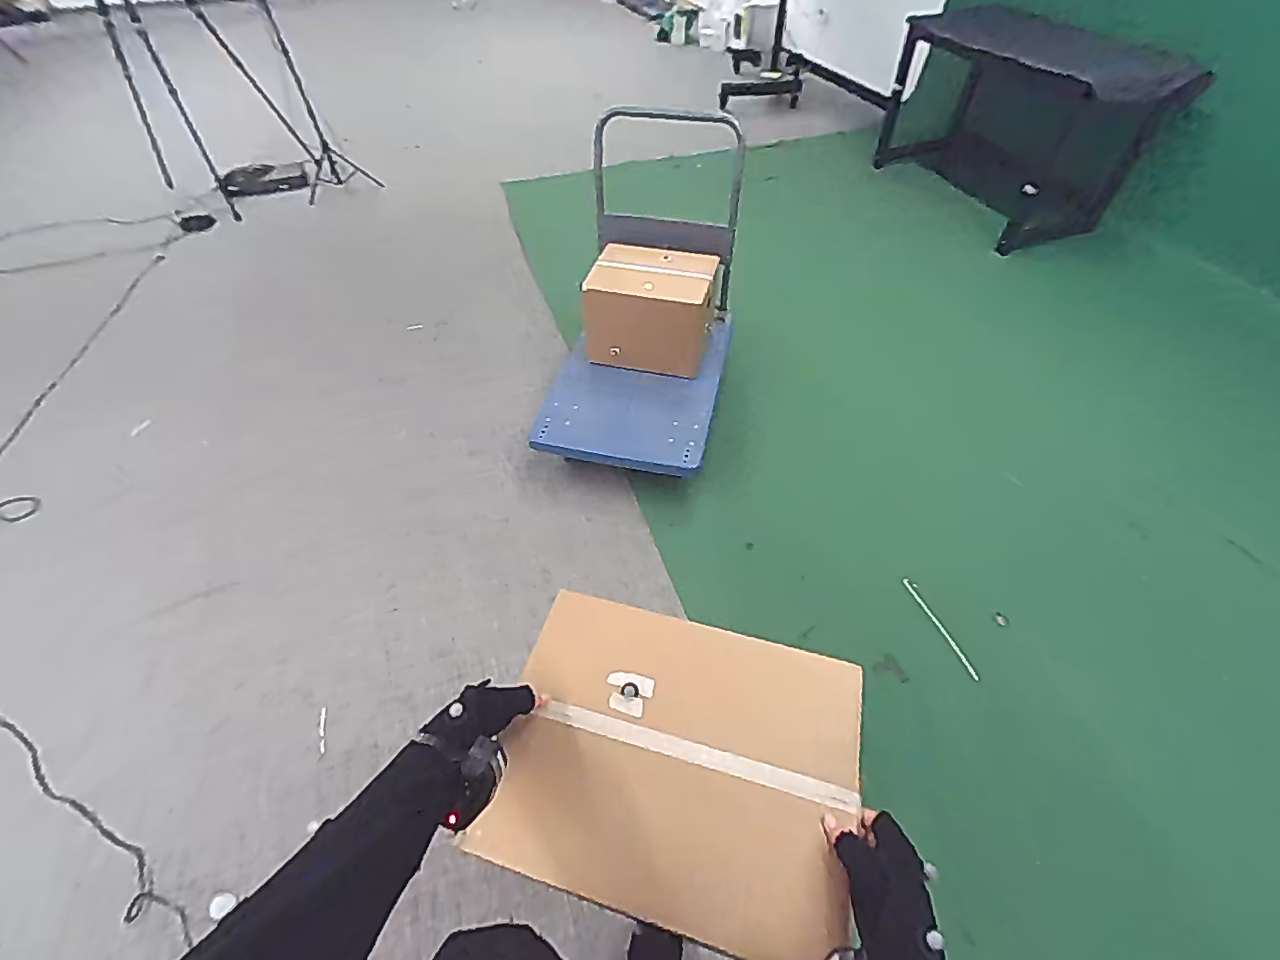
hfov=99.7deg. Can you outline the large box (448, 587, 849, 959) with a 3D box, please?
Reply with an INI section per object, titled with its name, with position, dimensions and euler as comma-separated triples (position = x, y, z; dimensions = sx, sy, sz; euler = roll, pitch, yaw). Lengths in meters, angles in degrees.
[large box]
position = 0.036, 0.389, 0.736
dimensions = 0.408, 0.320, 0.320
euler = 12, 54, 13
